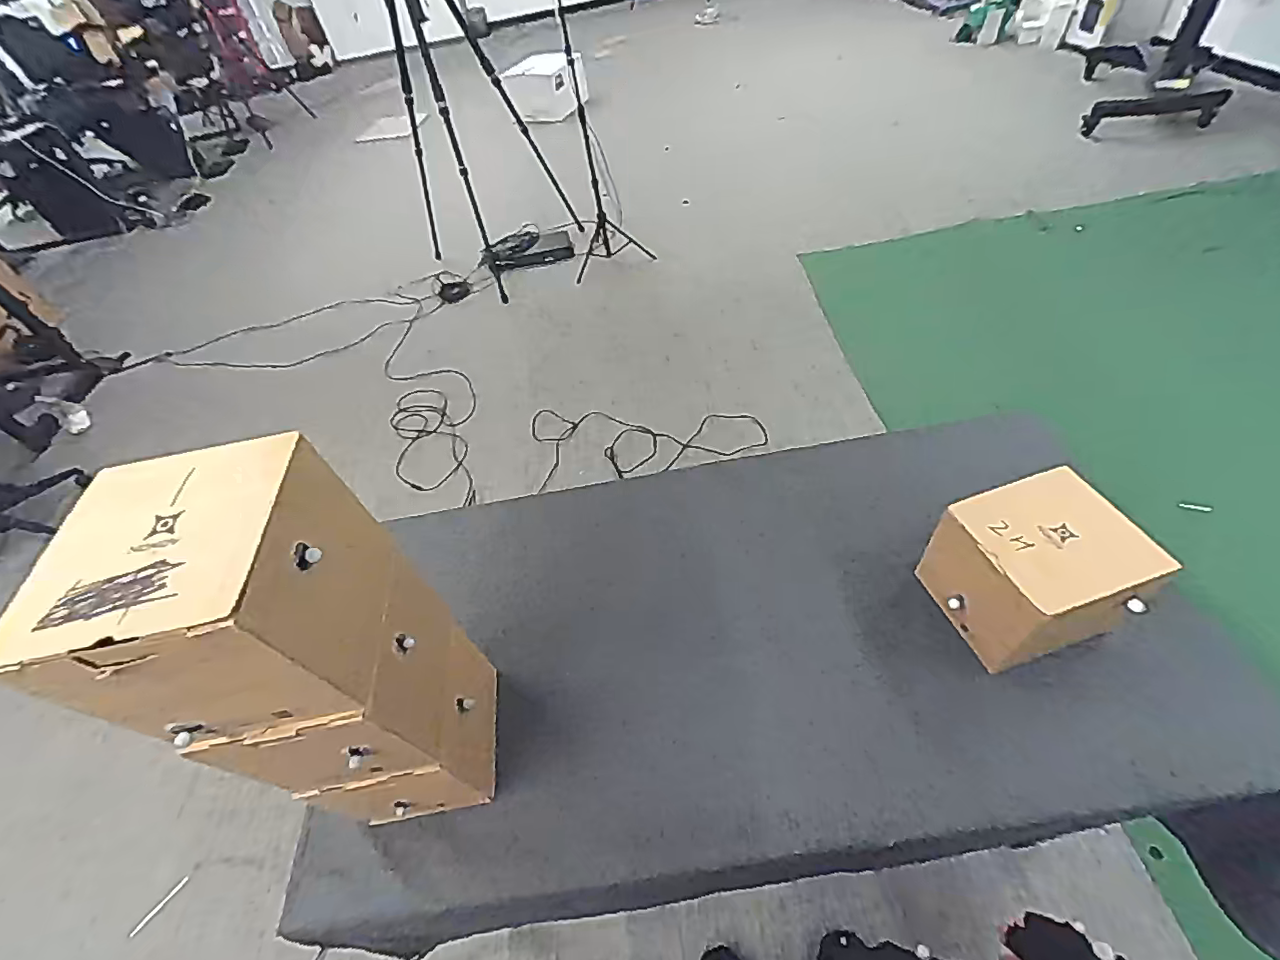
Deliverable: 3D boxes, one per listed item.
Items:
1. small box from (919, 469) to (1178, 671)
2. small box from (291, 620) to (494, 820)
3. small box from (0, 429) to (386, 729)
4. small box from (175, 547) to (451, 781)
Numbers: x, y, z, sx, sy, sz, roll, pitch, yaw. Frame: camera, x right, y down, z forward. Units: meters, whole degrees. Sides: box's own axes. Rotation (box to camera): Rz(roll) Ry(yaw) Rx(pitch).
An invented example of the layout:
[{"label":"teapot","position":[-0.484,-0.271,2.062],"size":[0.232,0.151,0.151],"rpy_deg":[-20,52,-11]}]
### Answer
[{"label":"small box","position":[0.501,0.119,0.699],"size":[0.179,0.176,0.168],"rpy_deg":[-18,49,-4]},{"label":"small box","position":[-0.293,0.306,0.687],"size":[0.168,0.176,0.179],"rpy_deg":[-11,50,0]},{"label":"small box","position":[-0.334,0.089,0.447],"size":[0.168,0.176,0.179],"rpy_deg":[-11,49,-1]},{"label":"small box","position":[-0.312,0.199,0.566],"size":[0.168,0.176,0.179],"rpy_deg":[-10,49,0]}]
